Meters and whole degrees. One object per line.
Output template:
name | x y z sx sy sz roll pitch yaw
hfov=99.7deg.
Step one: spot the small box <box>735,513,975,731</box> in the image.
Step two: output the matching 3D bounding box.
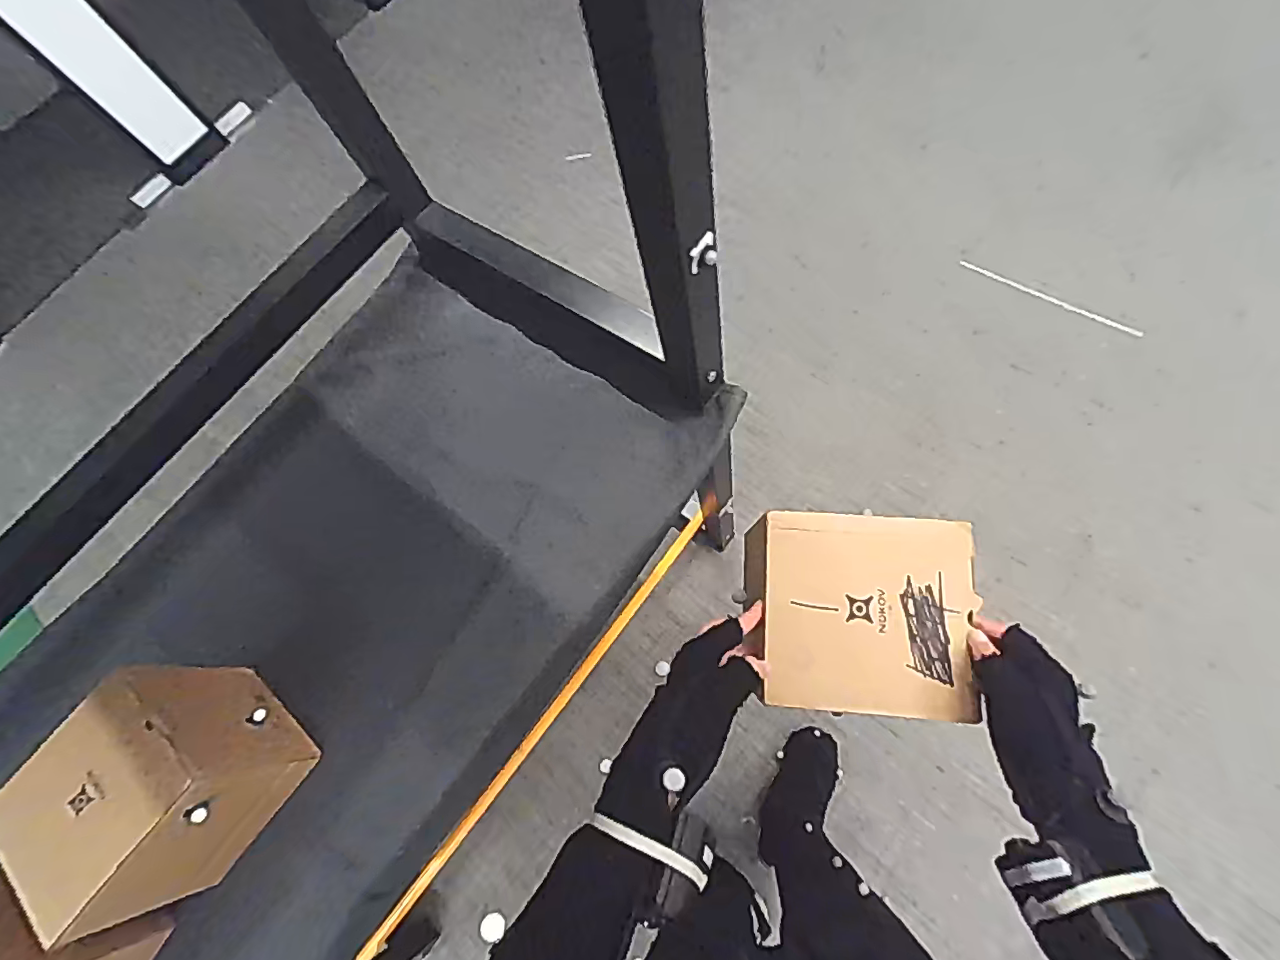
small box | 0.191 0.130 0.527 0.179 0.176 0.168 3 78 6
